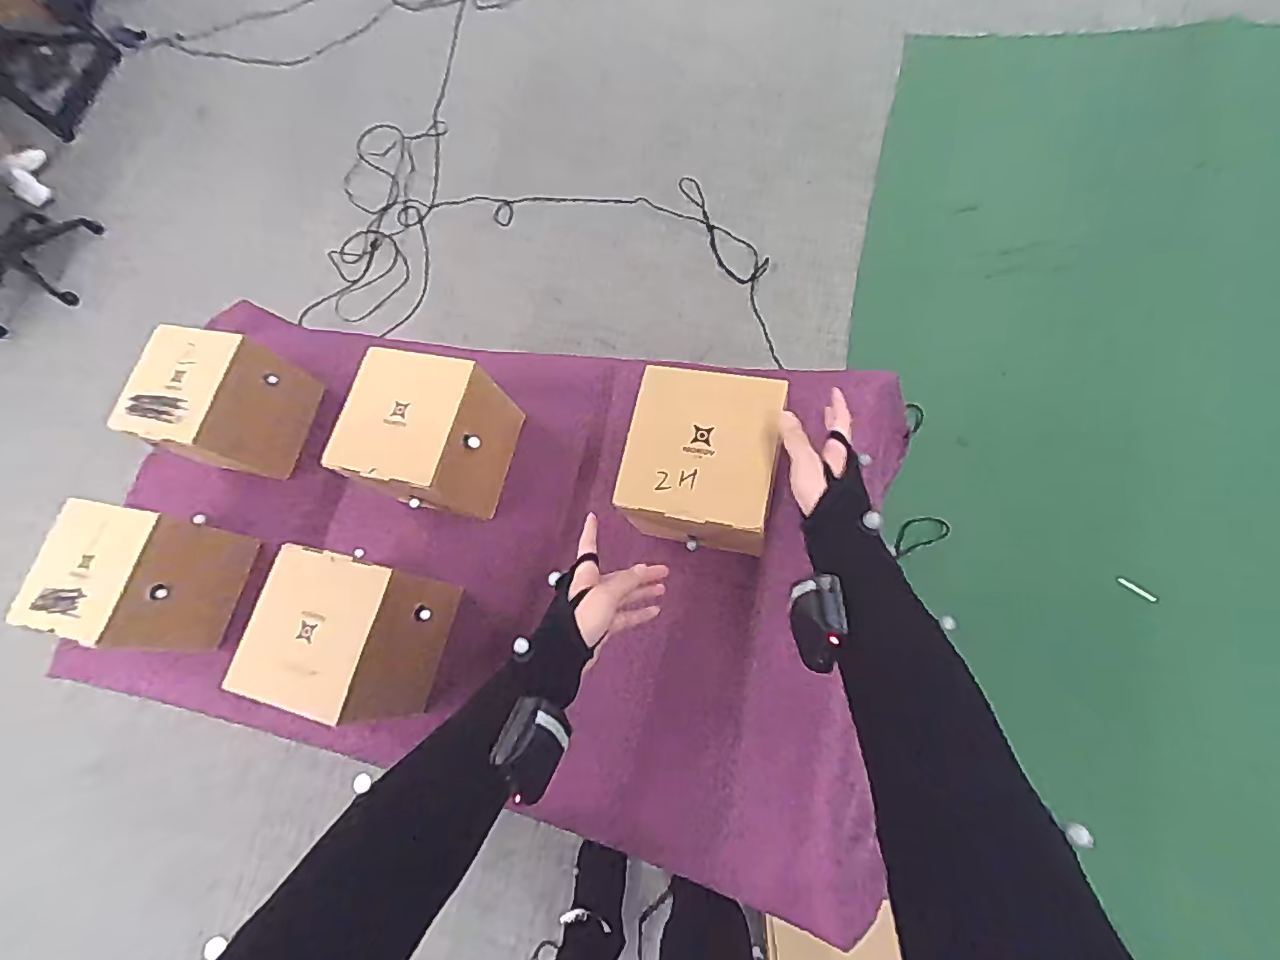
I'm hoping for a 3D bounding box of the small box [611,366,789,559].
[{"bbox_3d":[0.080,-0.015,0.661,0.168,0.176,0.179,10,76,16],"label":"small box"}]

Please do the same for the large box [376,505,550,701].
[{"bbox_3d":[-0.466,0.317,1.380,0.320,0.320,0.408,9,73,14],"label":"large box"}]

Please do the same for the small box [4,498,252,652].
[{"bbox_3d":[-0.714,0.143,0.777,0.168,0.176,0.179,8,72,14],"label":"small box"}]

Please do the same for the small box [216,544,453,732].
[{"bbox_3d":[-0.367,0.198,0.687,0.168,0.176,0.179,10,74,16],"label":"small box"}]

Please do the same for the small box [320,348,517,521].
[{"bbox_3d":[-0.293,-0.057,0.758,0.168,0.176,0.179,11,76,15],"label":"small box"}]
